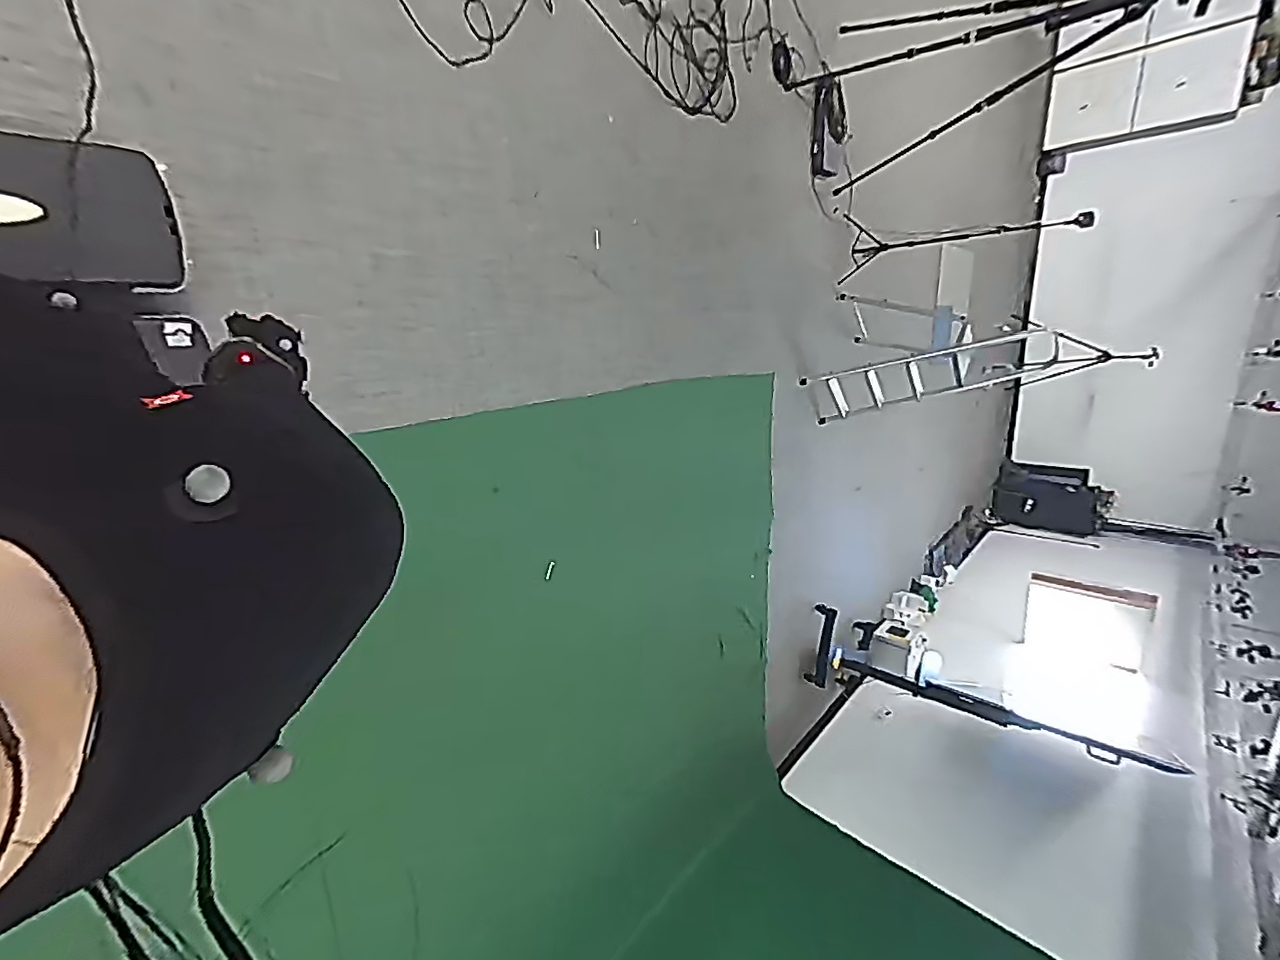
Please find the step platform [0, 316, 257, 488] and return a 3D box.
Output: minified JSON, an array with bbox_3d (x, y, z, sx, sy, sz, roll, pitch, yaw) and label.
[{"bbox_3d":[-1.087,-0.120,0.915,0.684,0.204,0.286,-19,112,-45],"label":"step platform"}]
